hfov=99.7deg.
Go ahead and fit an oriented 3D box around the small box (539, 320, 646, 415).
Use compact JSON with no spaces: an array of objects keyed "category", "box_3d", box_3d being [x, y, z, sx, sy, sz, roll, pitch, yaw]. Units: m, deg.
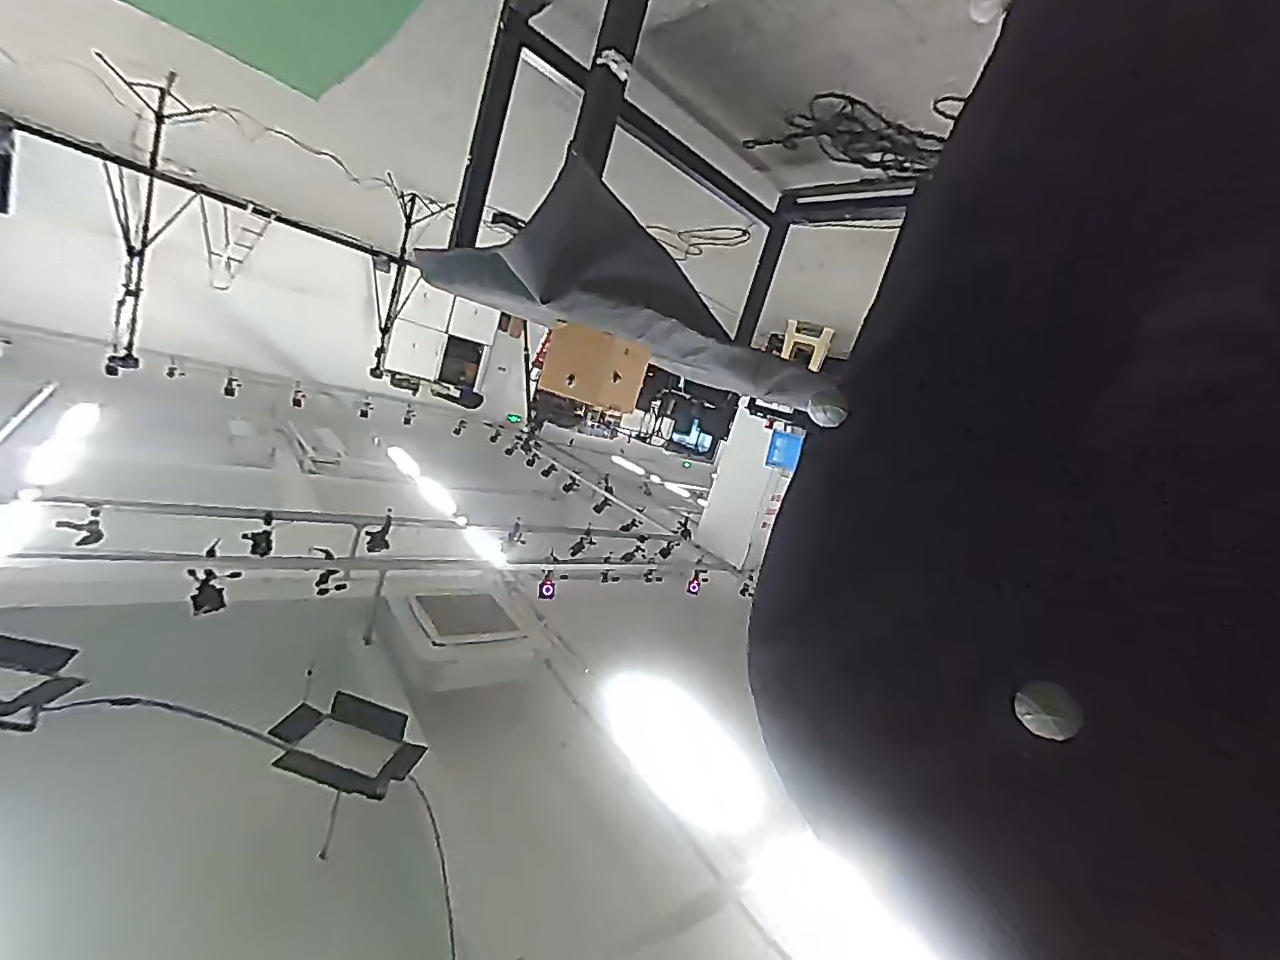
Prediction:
[{"category":"small box","box_3d":[-0.103,-0.264,1.268,0.179,0.176,0.168,24,-170,29]}]
